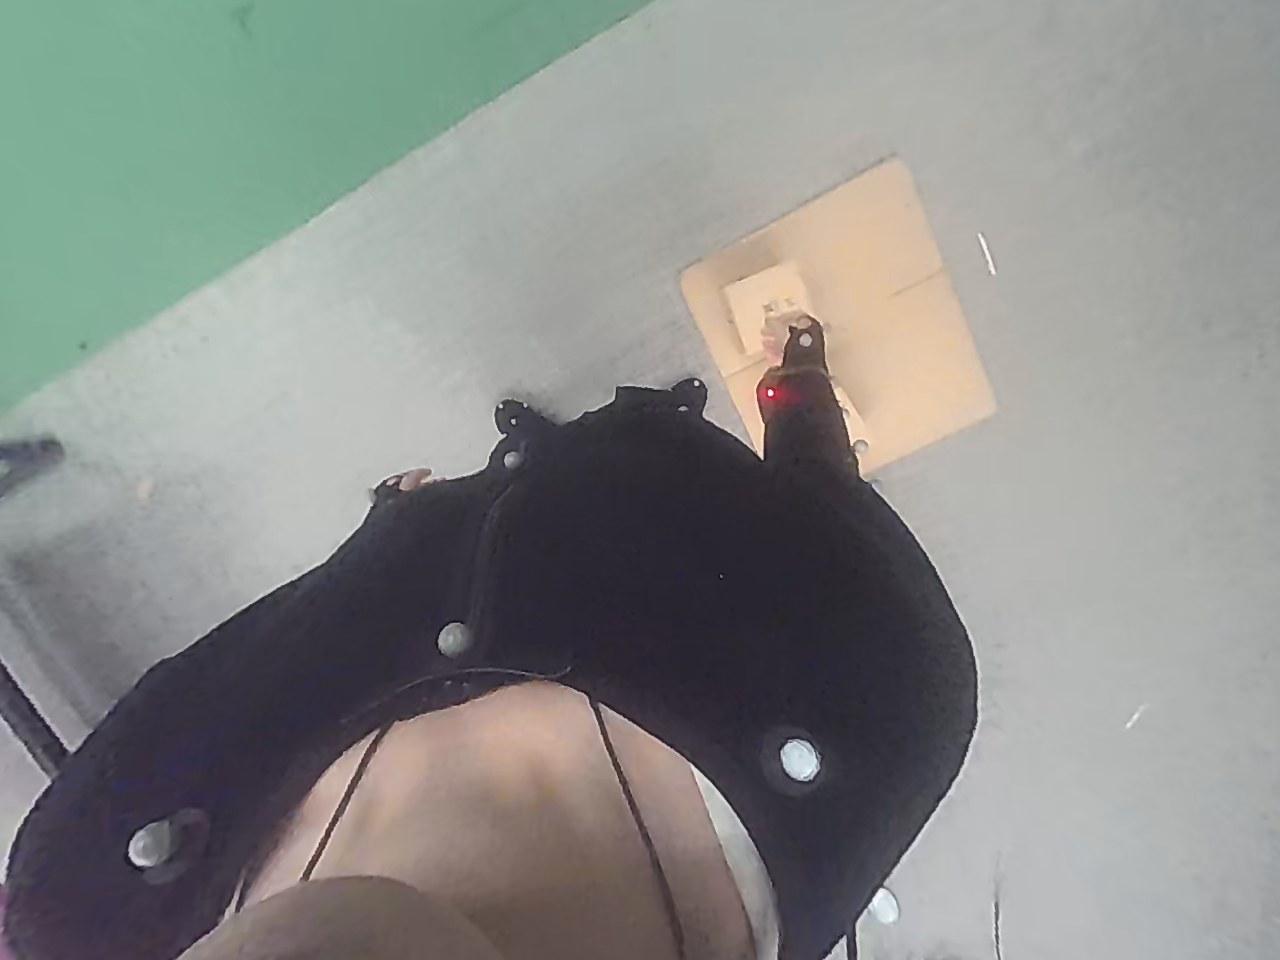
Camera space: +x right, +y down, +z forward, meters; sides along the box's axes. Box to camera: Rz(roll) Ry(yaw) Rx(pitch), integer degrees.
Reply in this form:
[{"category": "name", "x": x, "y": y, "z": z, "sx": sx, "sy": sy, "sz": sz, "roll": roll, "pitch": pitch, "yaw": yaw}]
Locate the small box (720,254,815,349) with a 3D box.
[{"category": "small box", "x": 0.298, "y": -0.421, "z": 1.307, "sx": 0.179, "sy": 0.176, "sz": 0.168, "roll": -19, "pitch": 102, "yaw": 8}]
